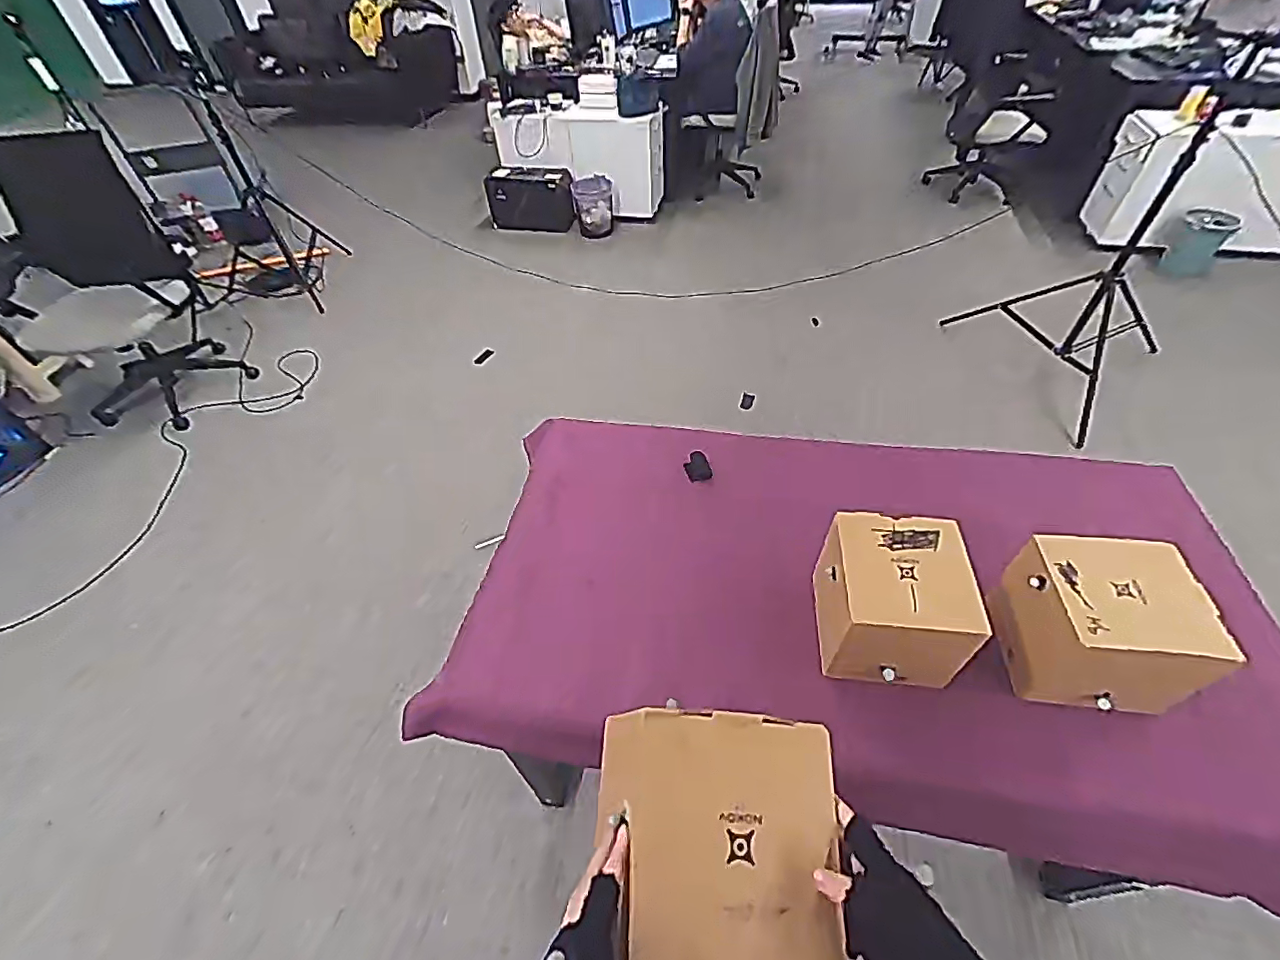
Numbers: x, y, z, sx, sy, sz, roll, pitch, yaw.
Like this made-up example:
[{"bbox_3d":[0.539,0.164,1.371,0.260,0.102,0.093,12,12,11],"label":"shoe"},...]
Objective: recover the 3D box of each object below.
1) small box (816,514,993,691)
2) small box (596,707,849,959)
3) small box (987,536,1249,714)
[{"bbox_3d":[0.353,0.172,0.763,0.168,0.176,0.179,4,48,7],"label":"small box"},{"bbox_3d":[0.058,0.307,0.478,0.168,0.176,0.179,9,63,-9],"label":"small box"},{"bbox_3d":[0.613,0.197,0.725,0.179,0.176,0.168,4,47,7],"label":"small box"}]
